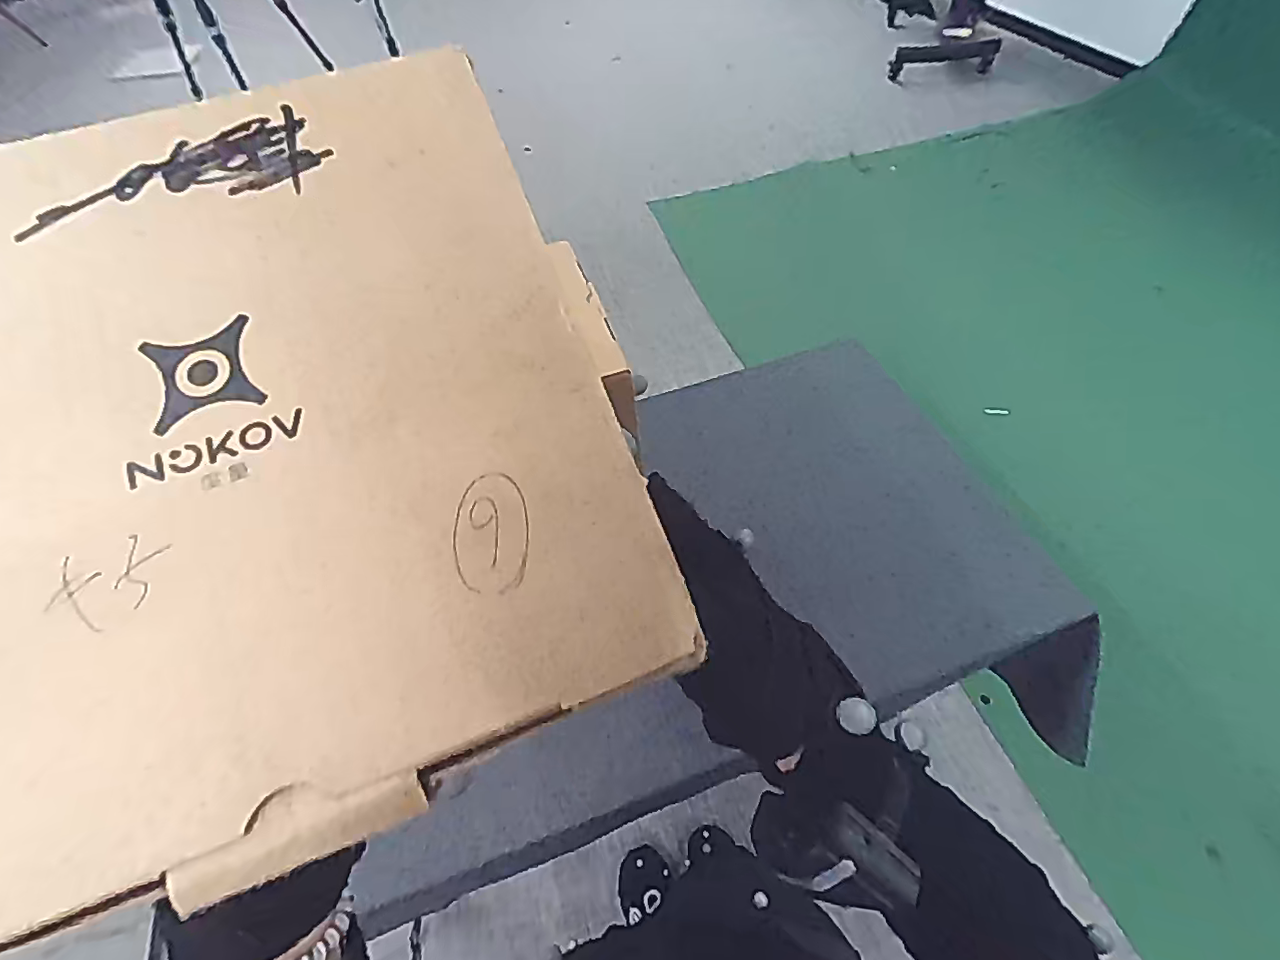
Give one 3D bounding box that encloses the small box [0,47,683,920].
[{"bbox_3d":[-0.097,0.002,0.200,0.168,0.176,0.179,-19,76,-9],"label":"small box"}]
